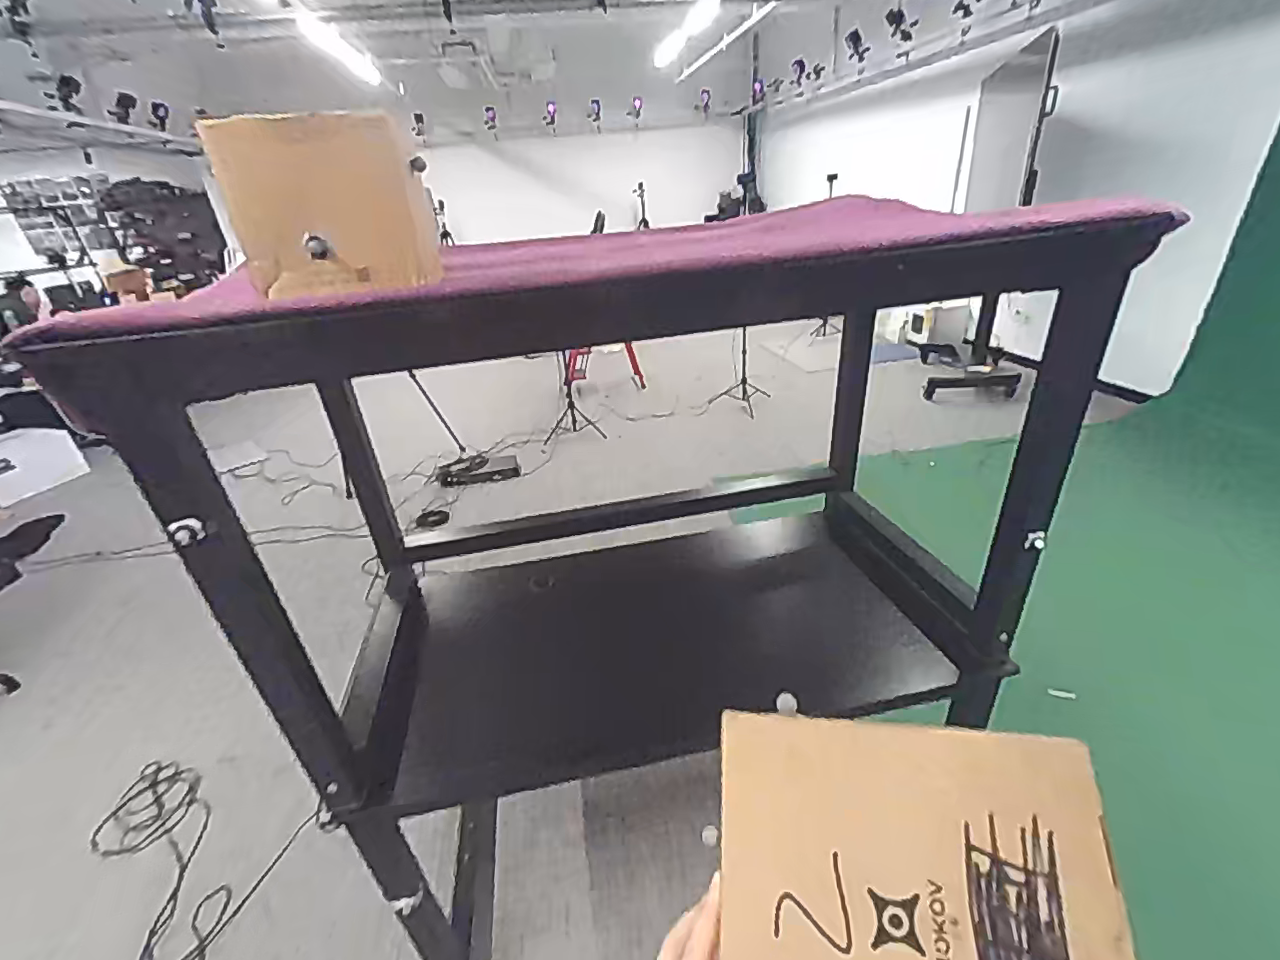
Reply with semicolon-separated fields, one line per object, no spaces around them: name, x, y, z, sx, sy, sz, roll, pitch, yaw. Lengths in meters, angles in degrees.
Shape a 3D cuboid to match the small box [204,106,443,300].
small box;-0.325;-0.300;0.602;0.168;0.176;0.179;-10;27;-10
